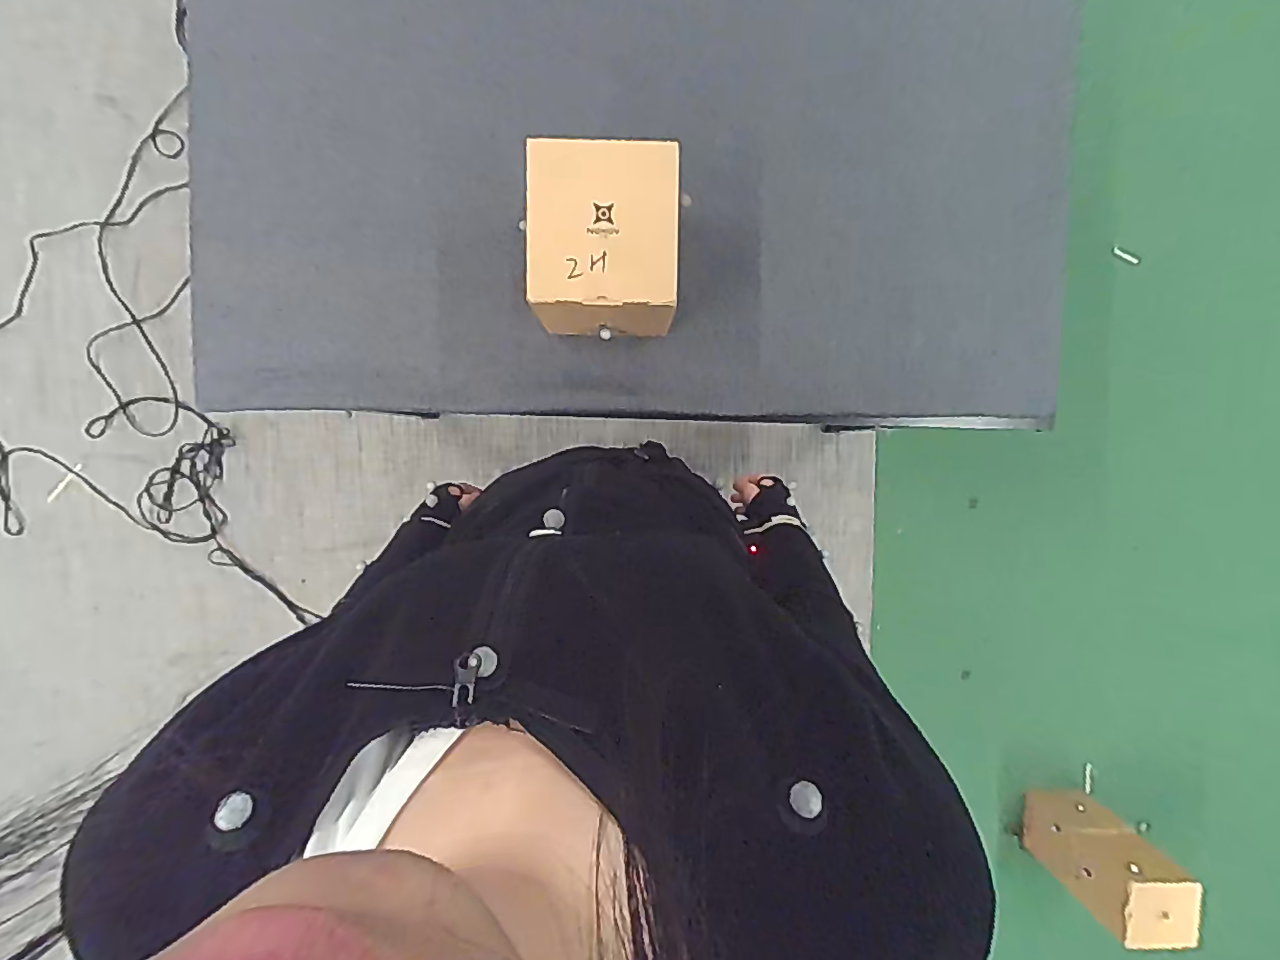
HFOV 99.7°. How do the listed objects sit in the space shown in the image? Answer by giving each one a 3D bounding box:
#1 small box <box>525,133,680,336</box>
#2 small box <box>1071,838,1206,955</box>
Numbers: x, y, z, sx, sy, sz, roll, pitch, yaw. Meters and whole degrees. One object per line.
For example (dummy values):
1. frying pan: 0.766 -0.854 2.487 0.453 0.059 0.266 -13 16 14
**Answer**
1. small box: -0.043 -0.283 0.658 0.168 0.176 0.179 0 93 -1
2. small box: 1.217 1.014 1.330 0.179 0.176 0.168 0 93 -2
